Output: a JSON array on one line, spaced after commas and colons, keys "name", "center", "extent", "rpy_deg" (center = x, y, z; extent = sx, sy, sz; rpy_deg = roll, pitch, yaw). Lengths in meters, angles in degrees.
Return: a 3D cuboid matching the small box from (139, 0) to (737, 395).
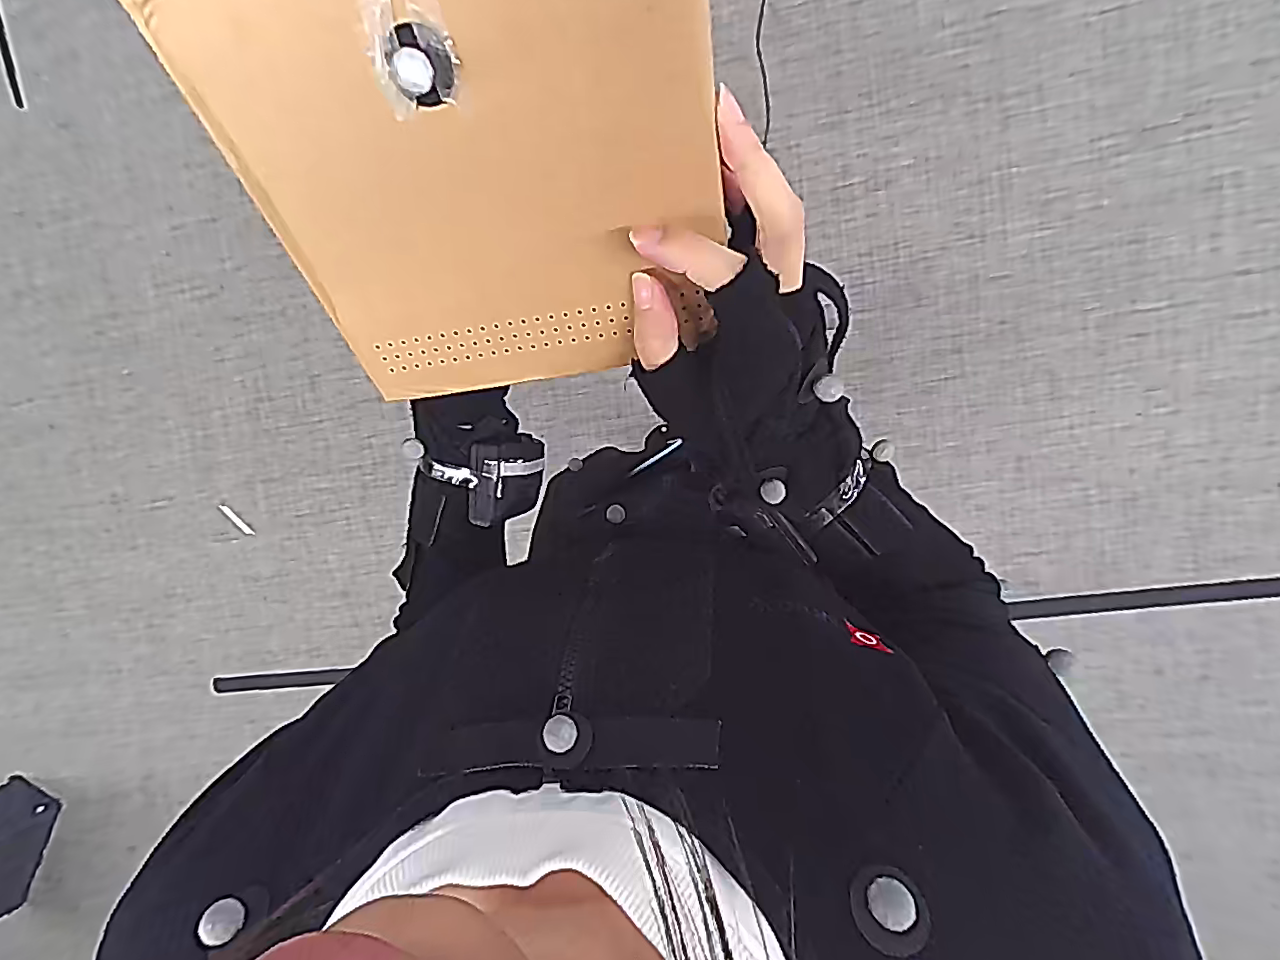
[{"name": "small box", "center": [-0.053, -0.157, 0.262], "extent": [0.179, 0.168, 0.176], "rpy_deg": [-6, 137, 9]}]
